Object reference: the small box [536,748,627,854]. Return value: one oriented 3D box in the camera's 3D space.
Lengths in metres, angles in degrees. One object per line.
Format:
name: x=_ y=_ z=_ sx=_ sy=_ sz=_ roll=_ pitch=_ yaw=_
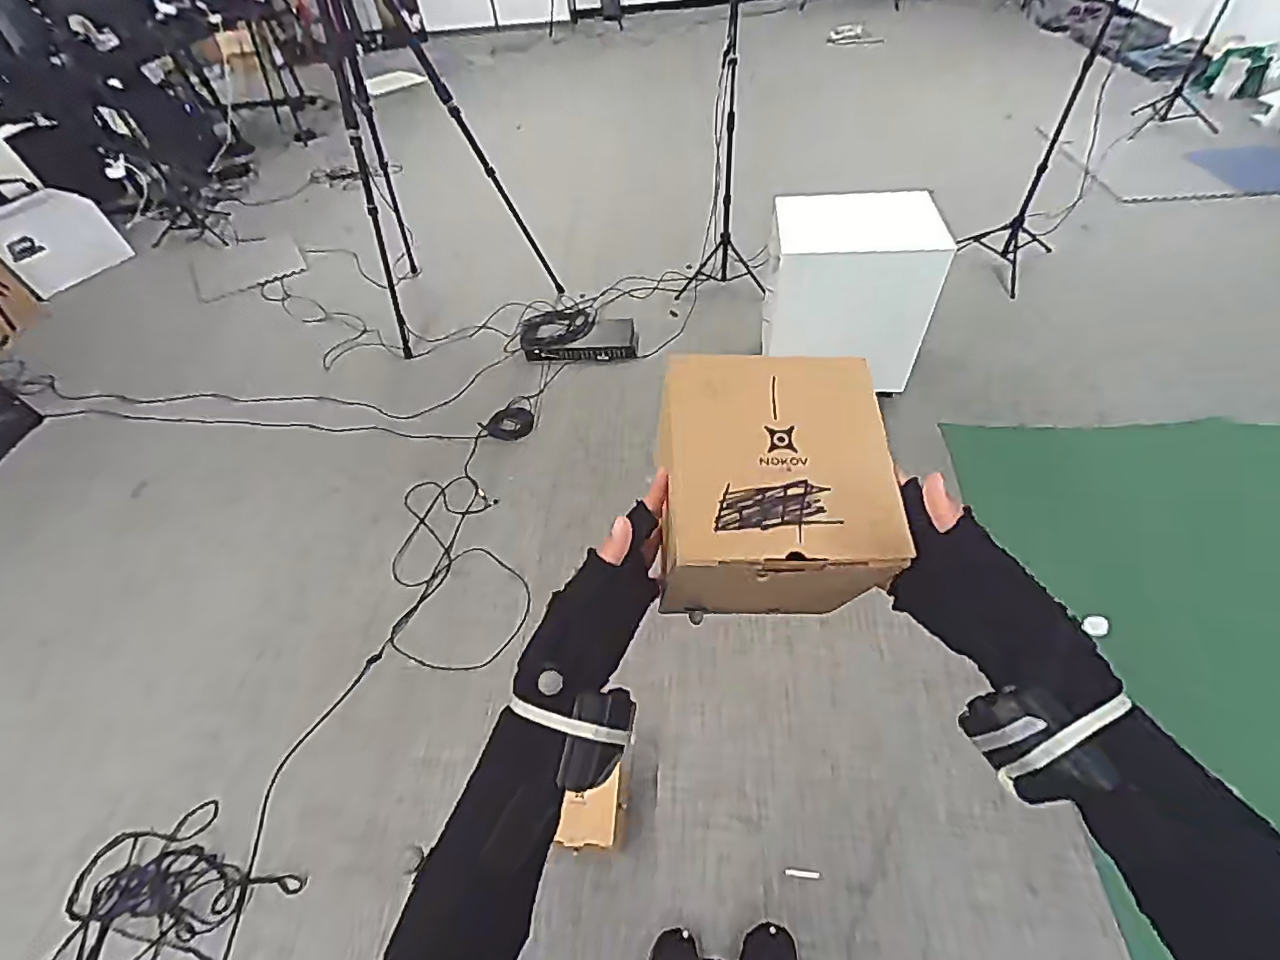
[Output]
small box: x=-0.123 y=0.728 z=1.224 sx=0.168 sy=0.176 sz=0.179 roll=0 pitch=50 yaw=7
